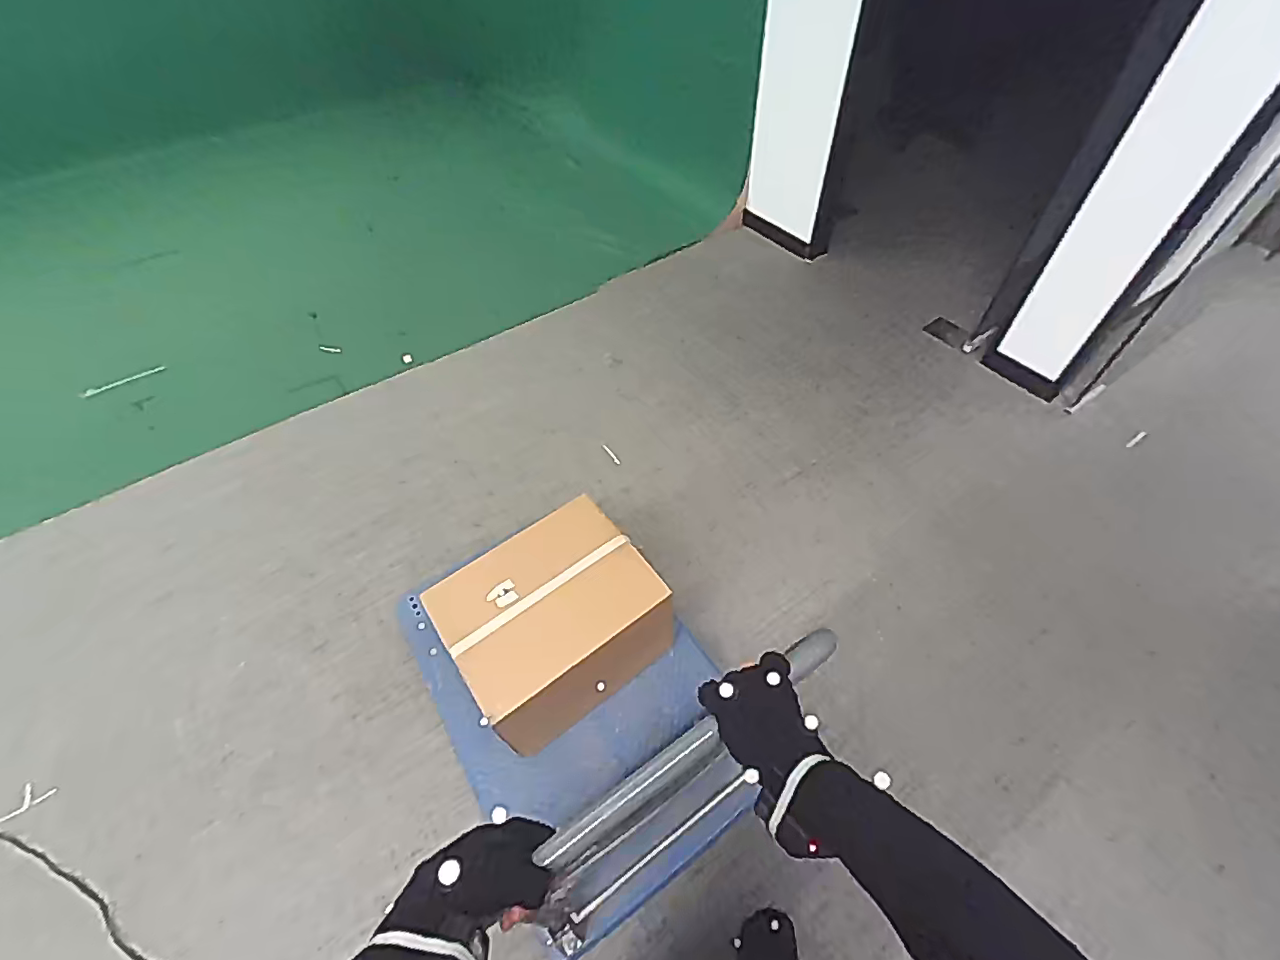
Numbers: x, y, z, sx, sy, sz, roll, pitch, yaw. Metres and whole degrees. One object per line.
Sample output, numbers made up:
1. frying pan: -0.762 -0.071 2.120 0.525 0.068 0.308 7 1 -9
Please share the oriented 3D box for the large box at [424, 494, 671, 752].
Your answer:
1. large box: -0.179 0.311 1.190 0.408 0.320 0.320 -33 58 -20
